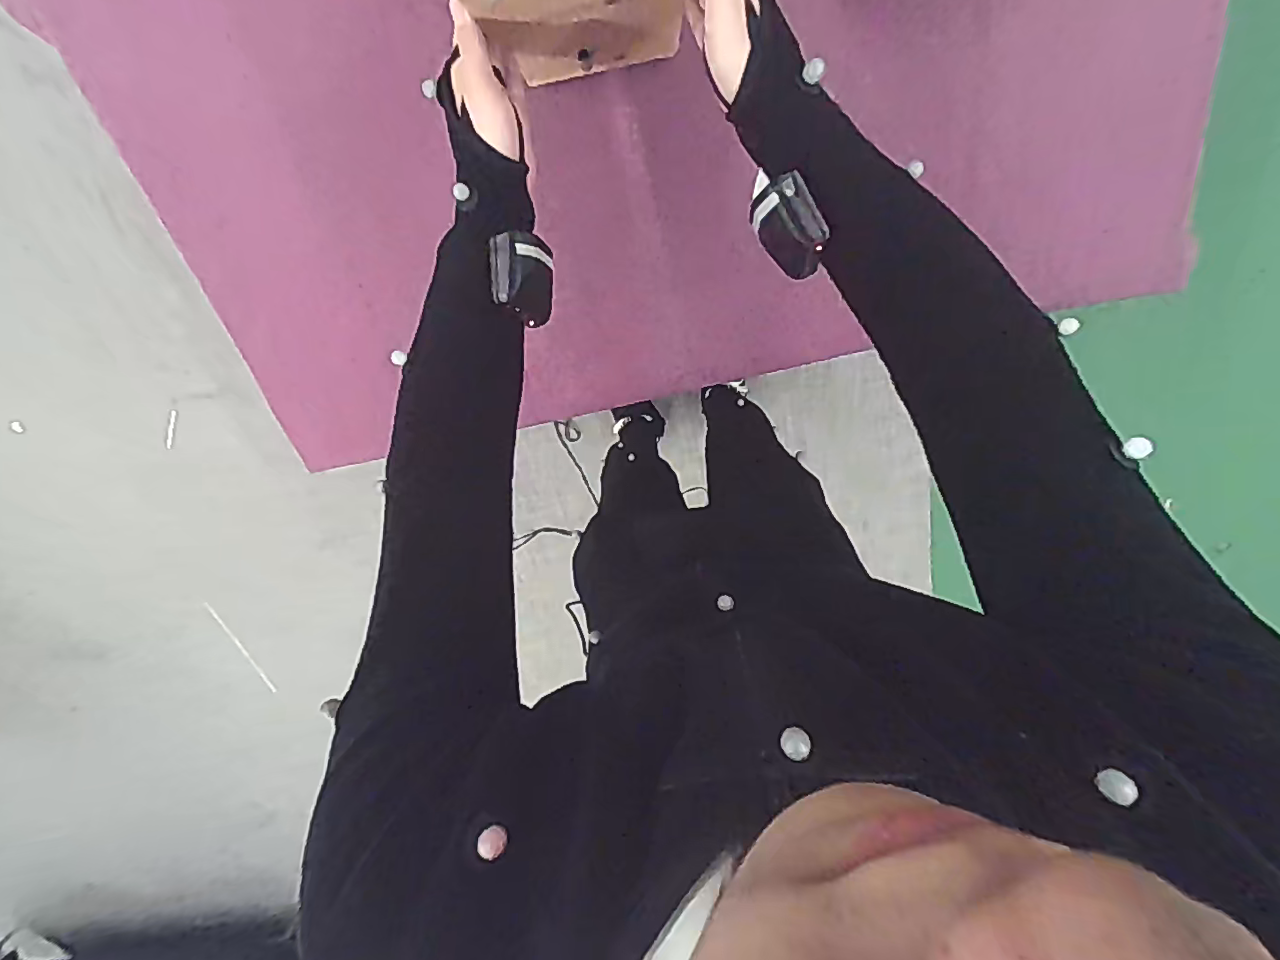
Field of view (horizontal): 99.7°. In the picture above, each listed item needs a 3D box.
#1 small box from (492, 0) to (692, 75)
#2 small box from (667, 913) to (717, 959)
[{"bbox_3d":[-0.050,-0.486,0.462,0.168,0.176,0.179,-10,114,3],"label":"small box"},{"bbox_3d":[0.188,1.680,1.923,0.168,0.176,0.179,-7,117,6],"label":"small box"}]
